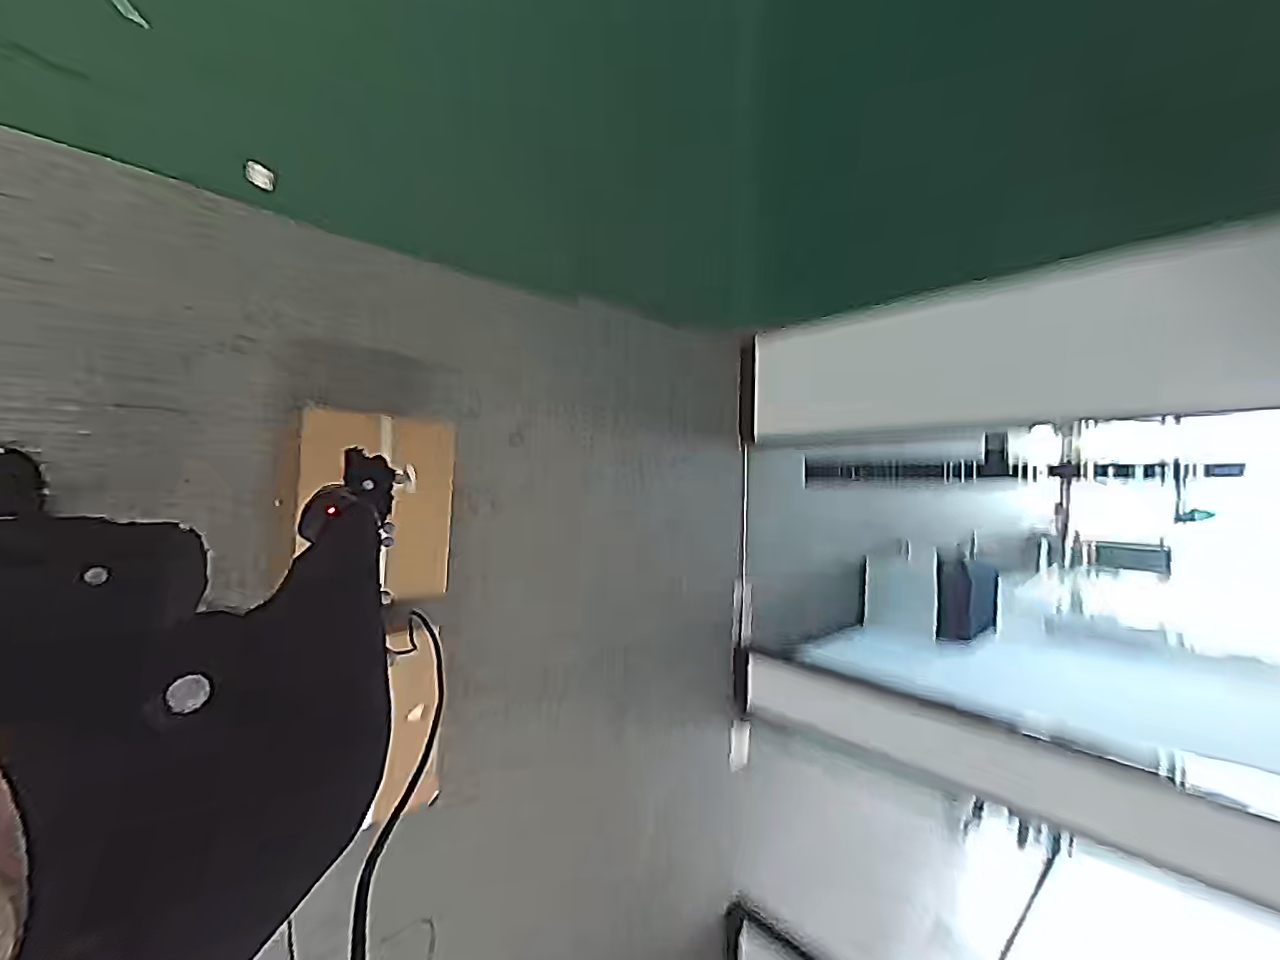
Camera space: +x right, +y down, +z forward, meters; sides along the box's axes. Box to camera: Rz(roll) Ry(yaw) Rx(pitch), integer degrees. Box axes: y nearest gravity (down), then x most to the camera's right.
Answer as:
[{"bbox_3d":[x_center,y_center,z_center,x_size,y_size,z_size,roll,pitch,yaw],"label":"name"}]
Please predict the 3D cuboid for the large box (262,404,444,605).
[{"bbox_3d":[-0.679,0.060,1.272,0.320,0.320,0.408,5,85,-43],"label":"large box"}]
